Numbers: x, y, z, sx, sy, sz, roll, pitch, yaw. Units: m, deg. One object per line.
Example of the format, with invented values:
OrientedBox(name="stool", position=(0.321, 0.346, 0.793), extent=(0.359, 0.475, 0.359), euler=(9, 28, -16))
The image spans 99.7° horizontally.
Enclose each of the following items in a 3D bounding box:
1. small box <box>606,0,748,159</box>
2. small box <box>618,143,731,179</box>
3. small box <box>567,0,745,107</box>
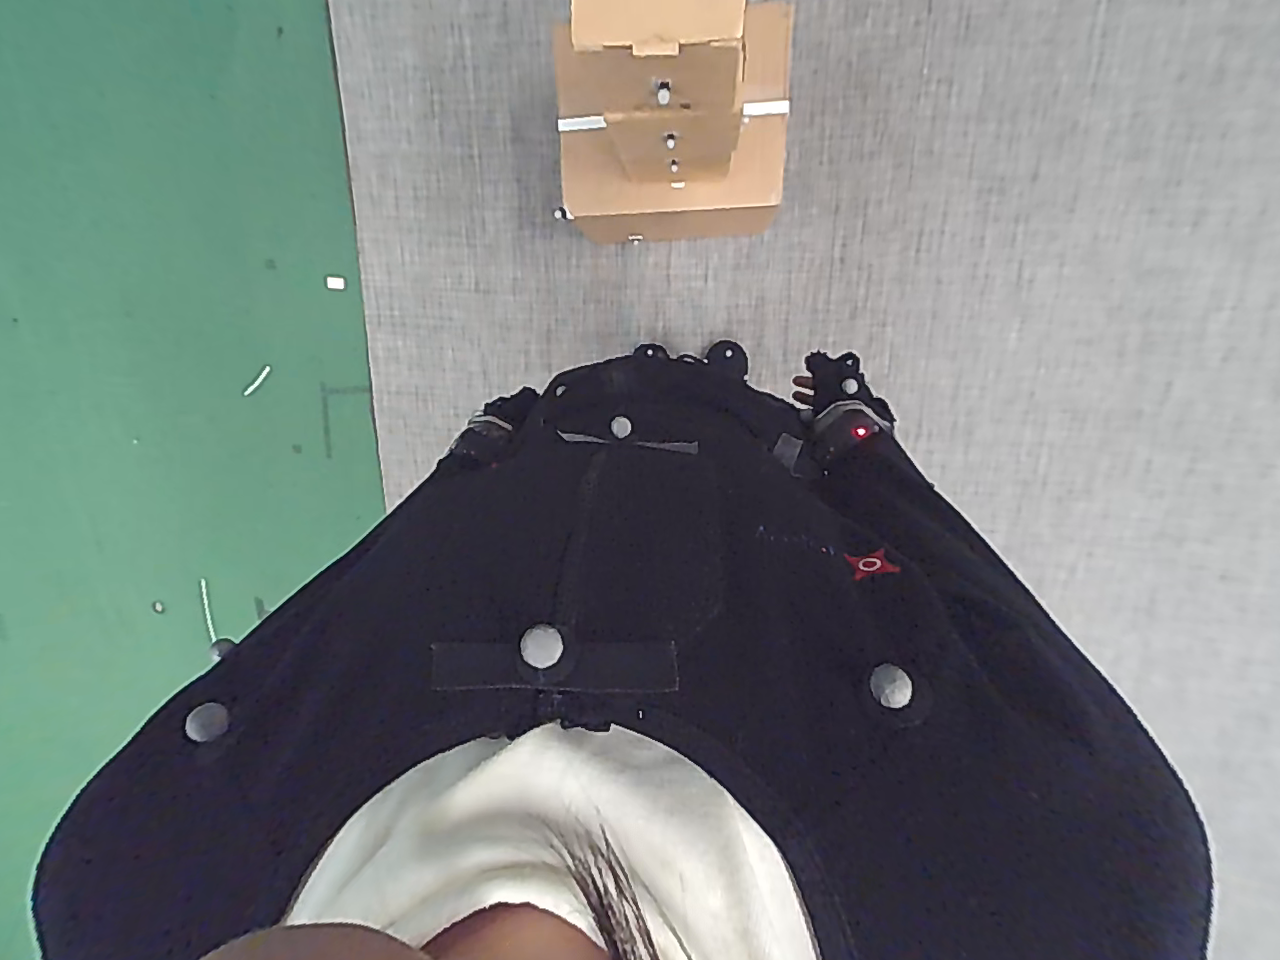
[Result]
OrientedBox(name="small box", position=(0.049, -0.550, 0.724), extent=(0.179, 0.176, 0.168), euler=(-2, 106, 7))
OrientedBox(name="small box", position=(0.063, -0.600, 0.880), extent=(0.179, 0.176, 0.168), euler=(2, 107, 6))
OrientedBox(name="small box", position=(0.026, -0.516, 0.565), extent=(0.168, 0.176, 0.179), euler=(5, 107, 7))
